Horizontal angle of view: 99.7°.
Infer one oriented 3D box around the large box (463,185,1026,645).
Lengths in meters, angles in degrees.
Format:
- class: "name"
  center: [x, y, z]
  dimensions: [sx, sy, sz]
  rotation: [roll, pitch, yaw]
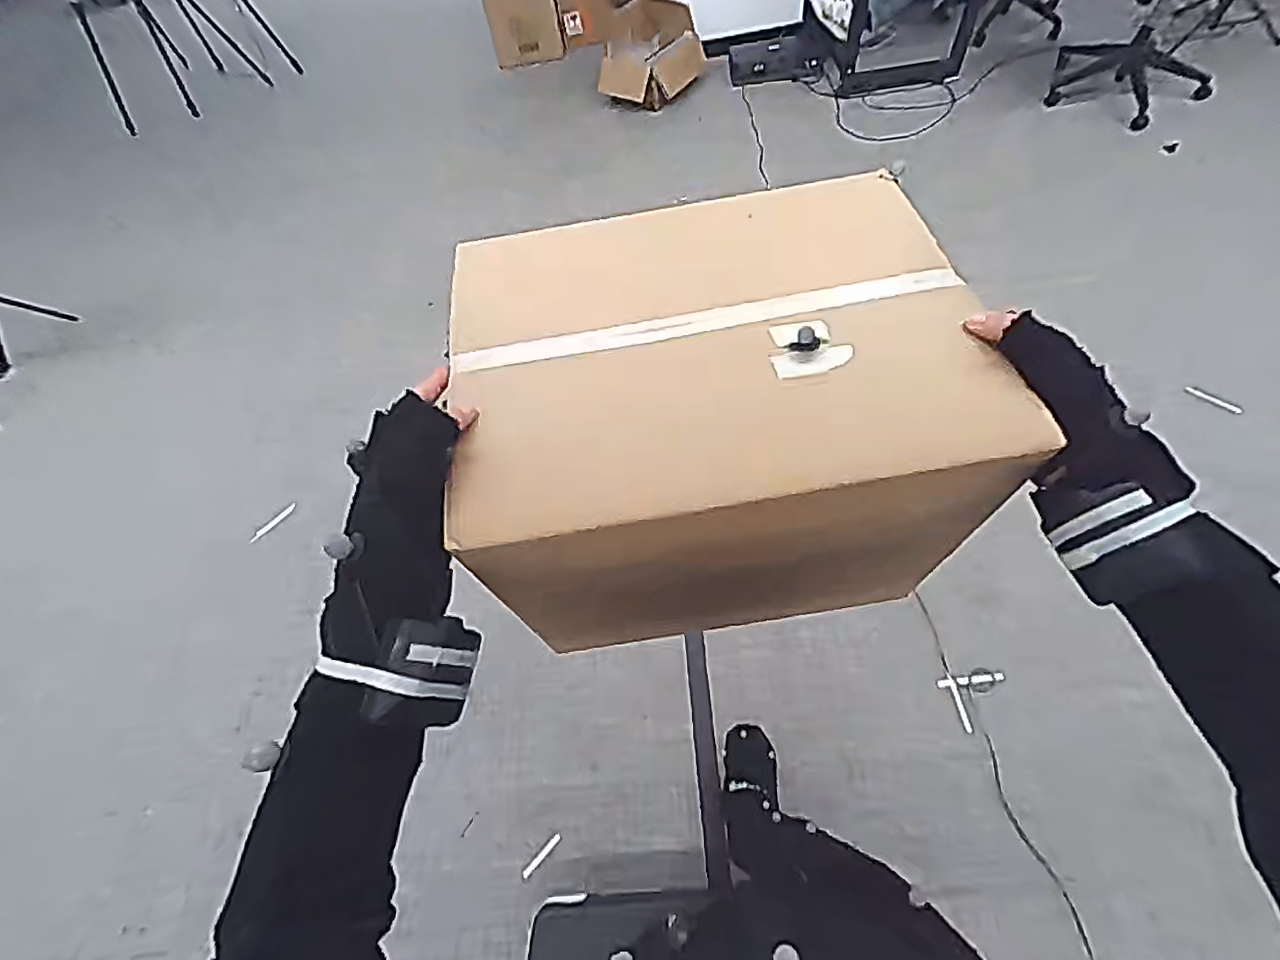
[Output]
- class: "large box"
  center: [0.062, -0.046, 0.572]
  dimensions: [0.408, 0.320, 0.320]
  rotation: [-10, 60, 0]
